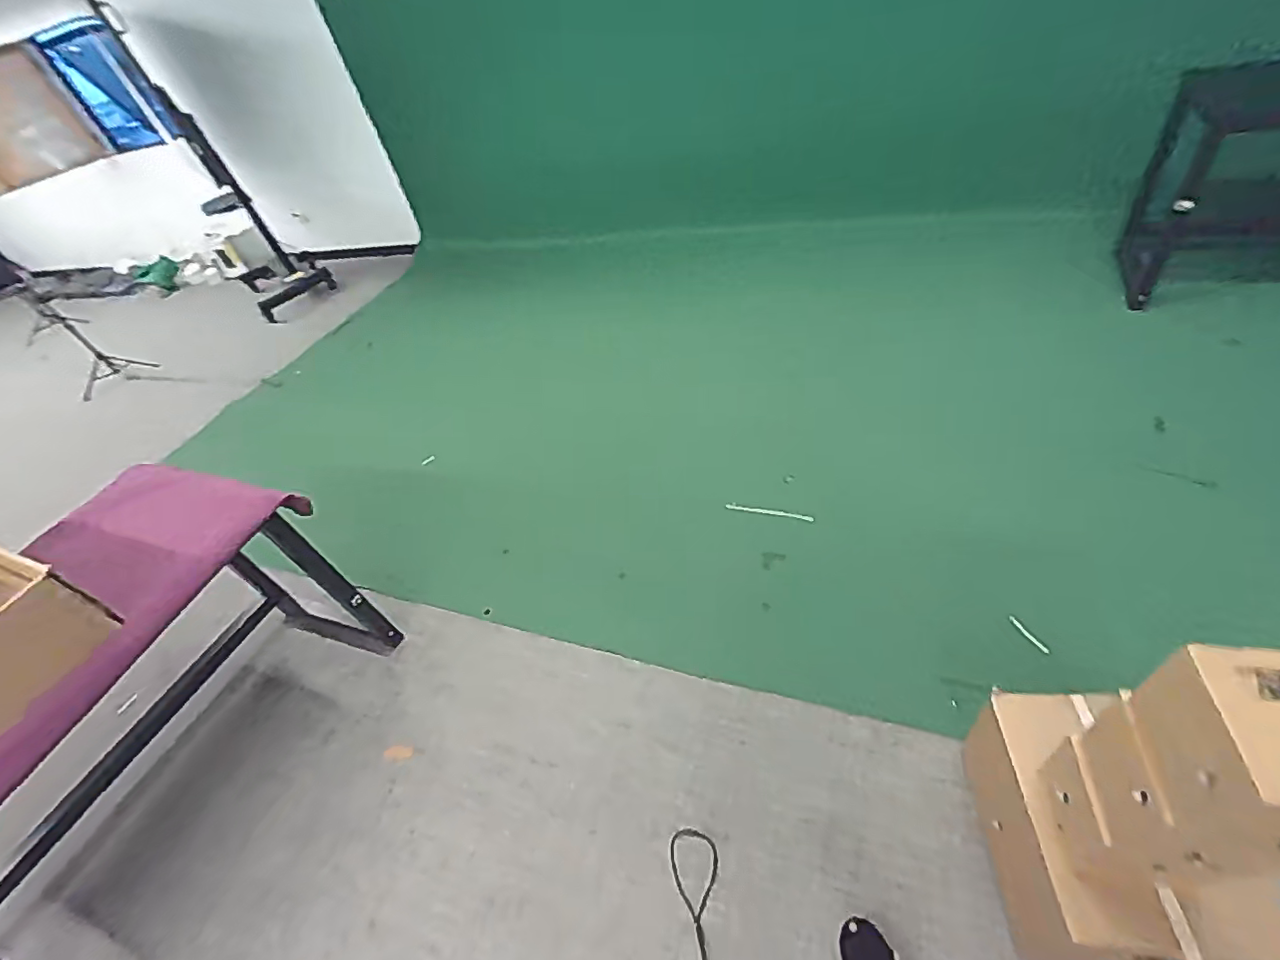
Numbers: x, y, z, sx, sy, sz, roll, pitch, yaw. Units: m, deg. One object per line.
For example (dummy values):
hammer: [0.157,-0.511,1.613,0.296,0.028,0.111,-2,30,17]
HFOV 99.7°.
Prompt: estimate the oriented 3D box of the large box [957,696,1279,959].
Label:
large box: [0.868,0.686,1.050,0.320,0.320,0.408,-3,44,12]

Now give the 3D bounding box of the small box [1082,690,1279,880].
small box: [0.762,0.423,0.754,0.168,0.176,0.179,2,47,17]

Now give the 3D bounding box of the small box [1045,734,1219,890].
small box: [0.788,0.534,0.870,0.179,0.176,0.168,1,46,16]
